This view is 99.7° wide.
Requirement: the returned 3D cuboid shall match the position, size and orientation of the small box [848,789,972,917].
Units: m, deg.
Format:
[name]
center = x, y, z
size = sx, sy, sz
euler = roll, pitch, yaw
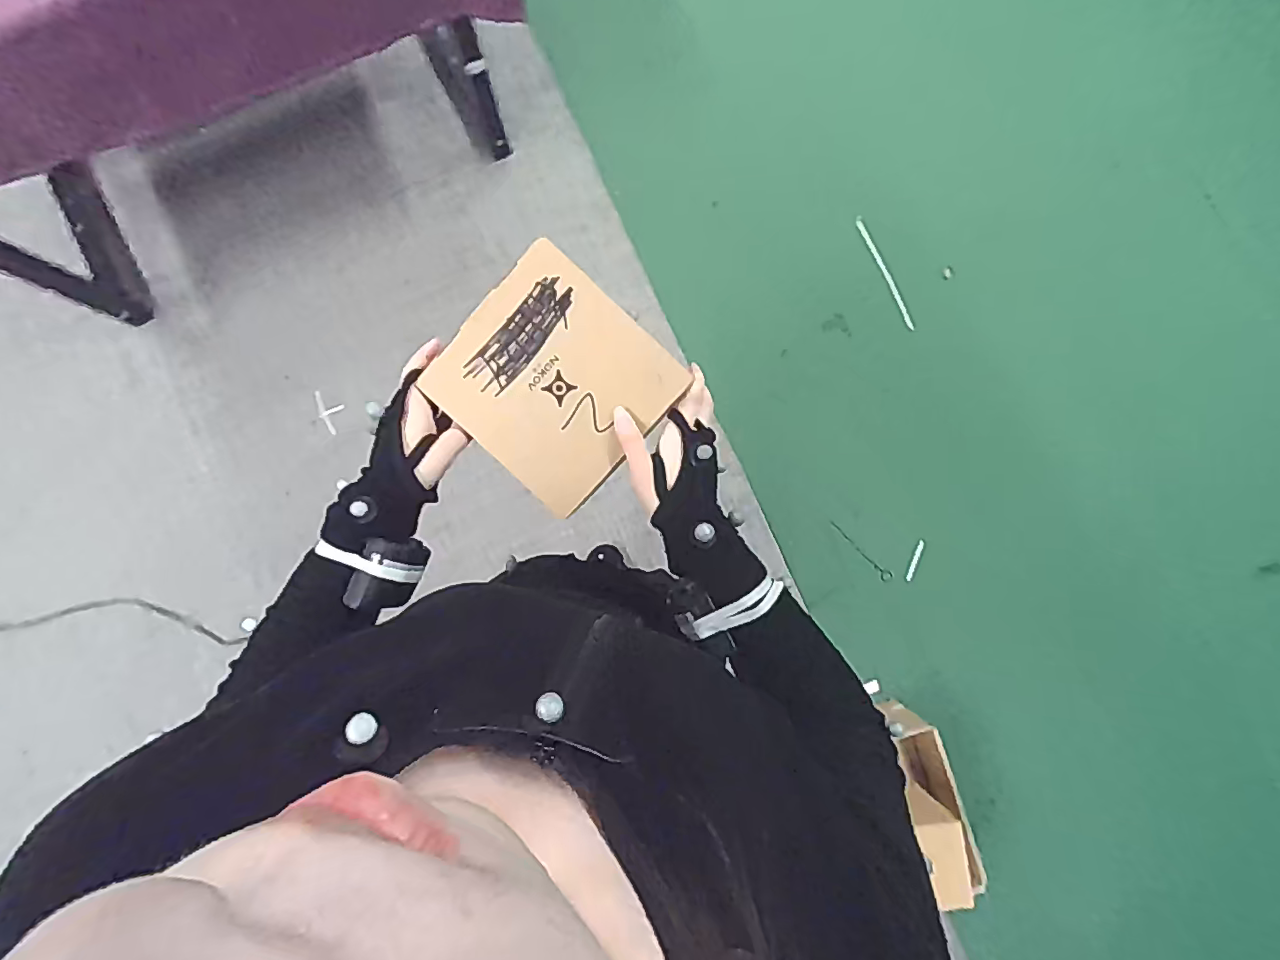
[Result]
[small box]
center = 0.574, 0.792, 1.168
size = 0.179, 0.176, 0.168
euler = -6, 85, 1
